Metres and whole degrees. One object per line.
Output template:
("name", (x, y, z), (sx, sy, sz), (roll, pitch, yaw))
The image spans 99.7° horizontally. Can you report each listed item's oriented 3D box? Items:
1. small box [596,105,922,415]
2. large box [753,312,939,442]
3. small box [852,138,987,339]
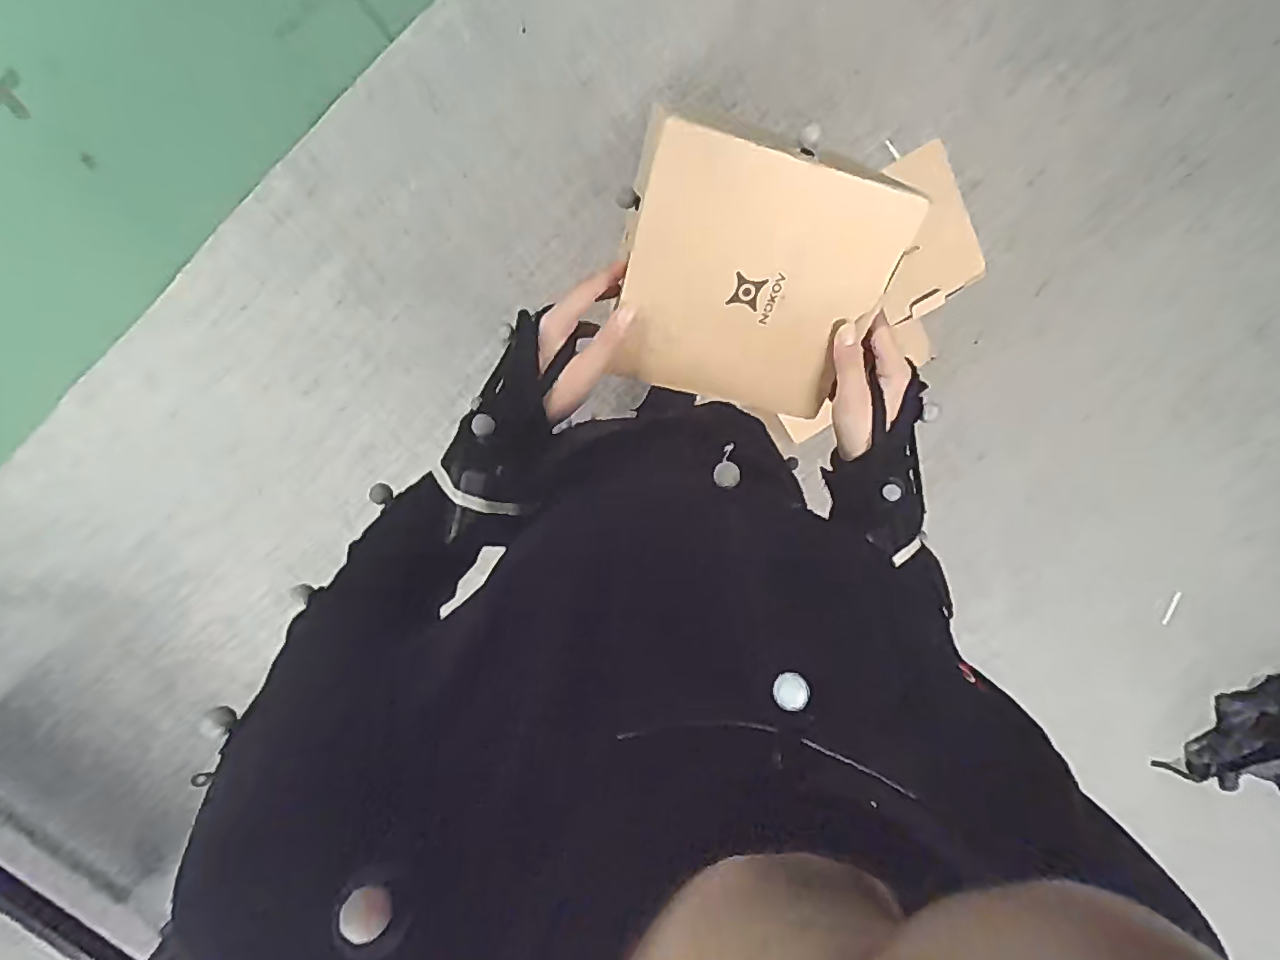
("small box", (0.068, -0.177, 0.425), (0.179, 0.176, 0.168), (10, 127, -9))
("large box", (0.323, -0.347, 1.138), (0.320, 0.320, 0.408), (-33, 102, 7))
("small box", (0.313, -0.307, 0.729), (0.168, 0.176, 0.179), (-29, 101, 4))
